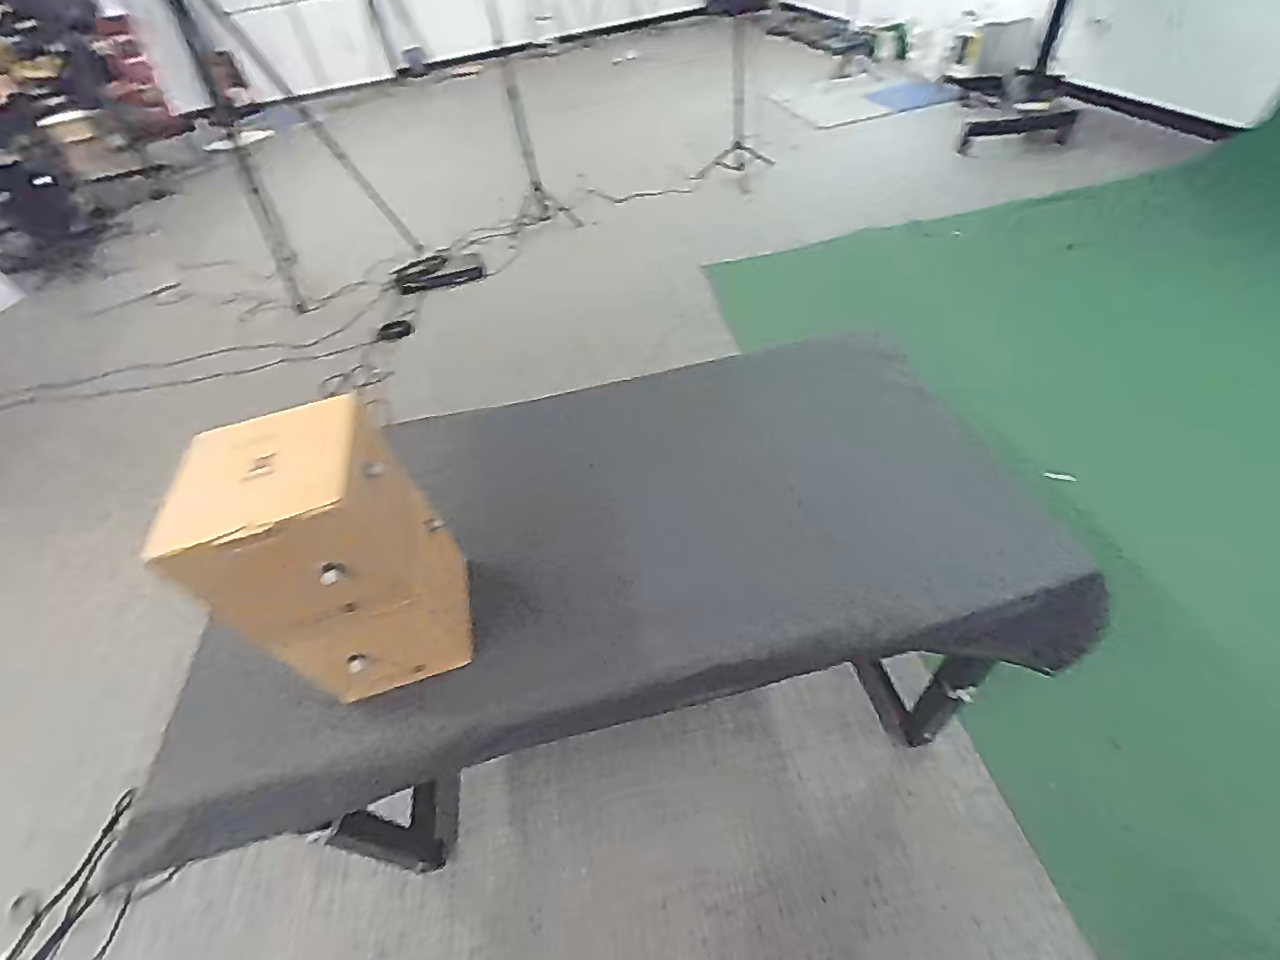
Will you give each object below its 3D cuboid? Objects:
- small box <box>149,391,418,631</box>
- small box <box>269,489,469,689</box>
[{"bbox_3d":[-0.348,0.038,0.574,0.168,0.176,0.179,-16,46,-7],"label":"small box"},{"bbox_3d":[-0.328,0.146,0.694,0.168,0.176,0.179,-16,46,-6],"label":"small box"}]
